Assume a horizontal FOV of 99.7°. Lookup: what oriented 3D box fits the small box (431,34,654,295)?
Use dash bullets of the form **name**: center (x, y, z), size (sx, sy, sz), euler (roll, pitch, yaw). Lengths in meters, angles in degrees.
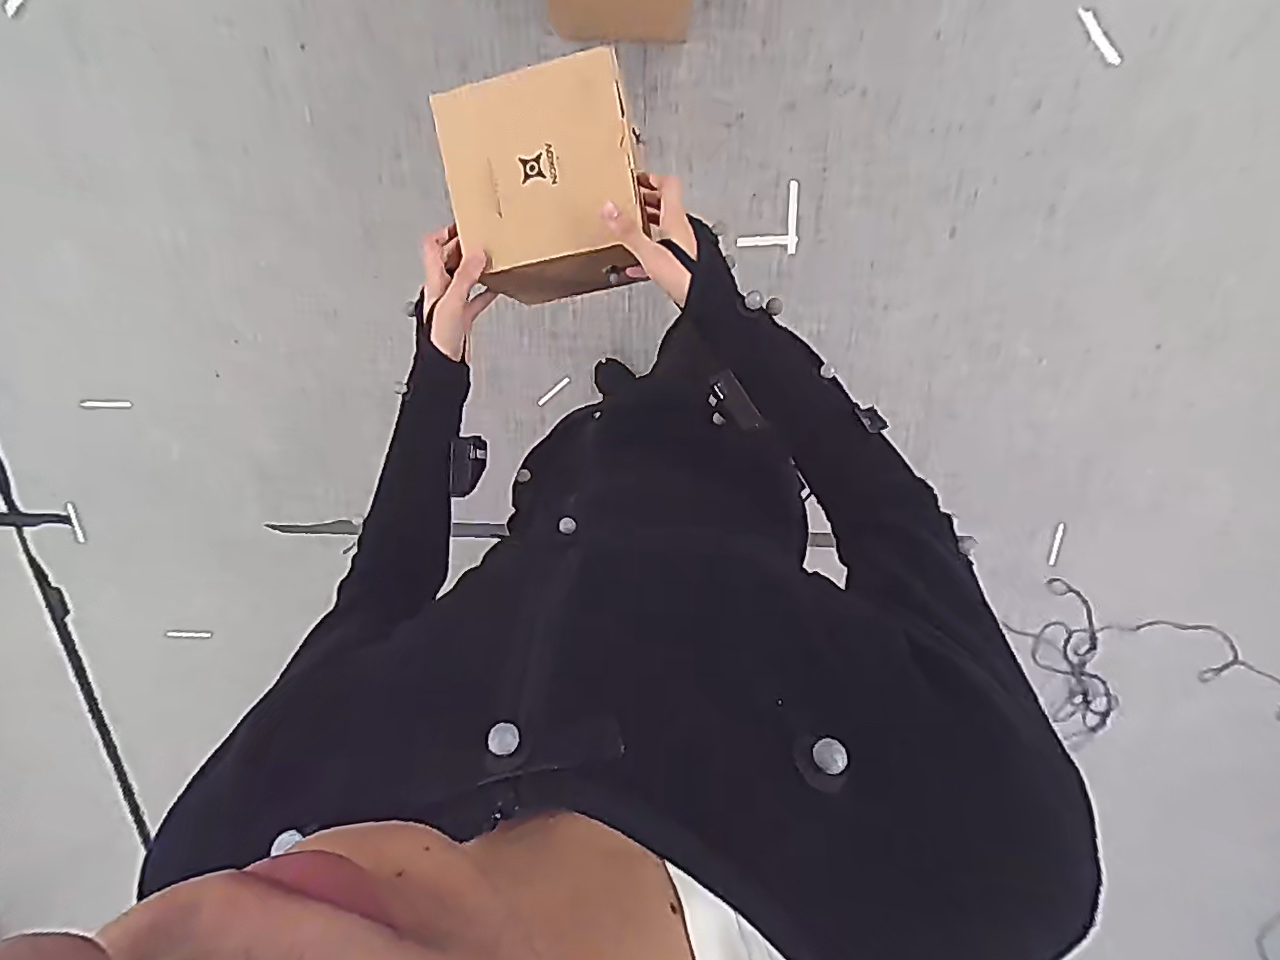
- **small box**: center (-0.083, -0.304, 0.563), size (0.179, 0.176, 0.168), euler (-8, 97, 9)
